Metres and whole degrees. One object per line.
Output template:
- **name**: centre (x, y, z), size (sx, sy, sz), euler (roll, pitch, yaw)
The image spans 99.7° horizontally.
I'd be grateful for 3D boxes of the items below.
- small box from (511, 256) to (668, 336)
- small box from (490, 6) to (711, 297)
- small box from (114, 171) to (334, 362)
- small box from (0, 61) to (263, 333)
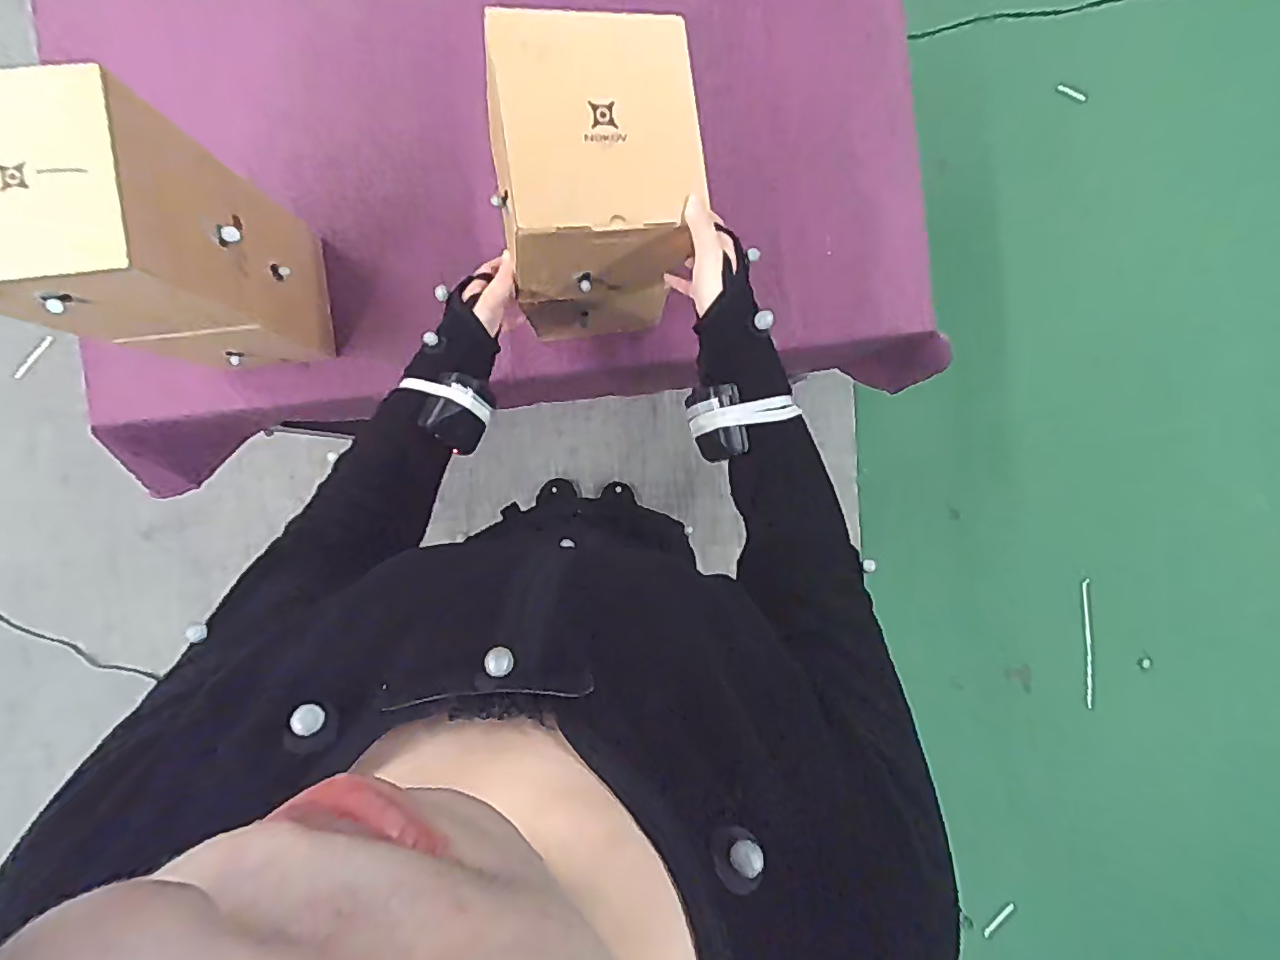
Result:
- **small box**: centre (-0.064, -0.291, 0.692), size (0.179, 0.176, 0.168), euler (-8, 92, -2)
- **small box**: centre (-0.047, -0.293, 0.517), size (0.168, 0.176, 0.179), euler (-9, 93, -12)
- **small box**: centre (-0.510, -0.250, 0.676), size (0.168, 0.176, 0.179), euler (-6, 91, -3)
- **small box**: centre (-0.505, -0.246, 0.511), size (0.179, 0.176, 0.168), euler (-7, 91, -3)
